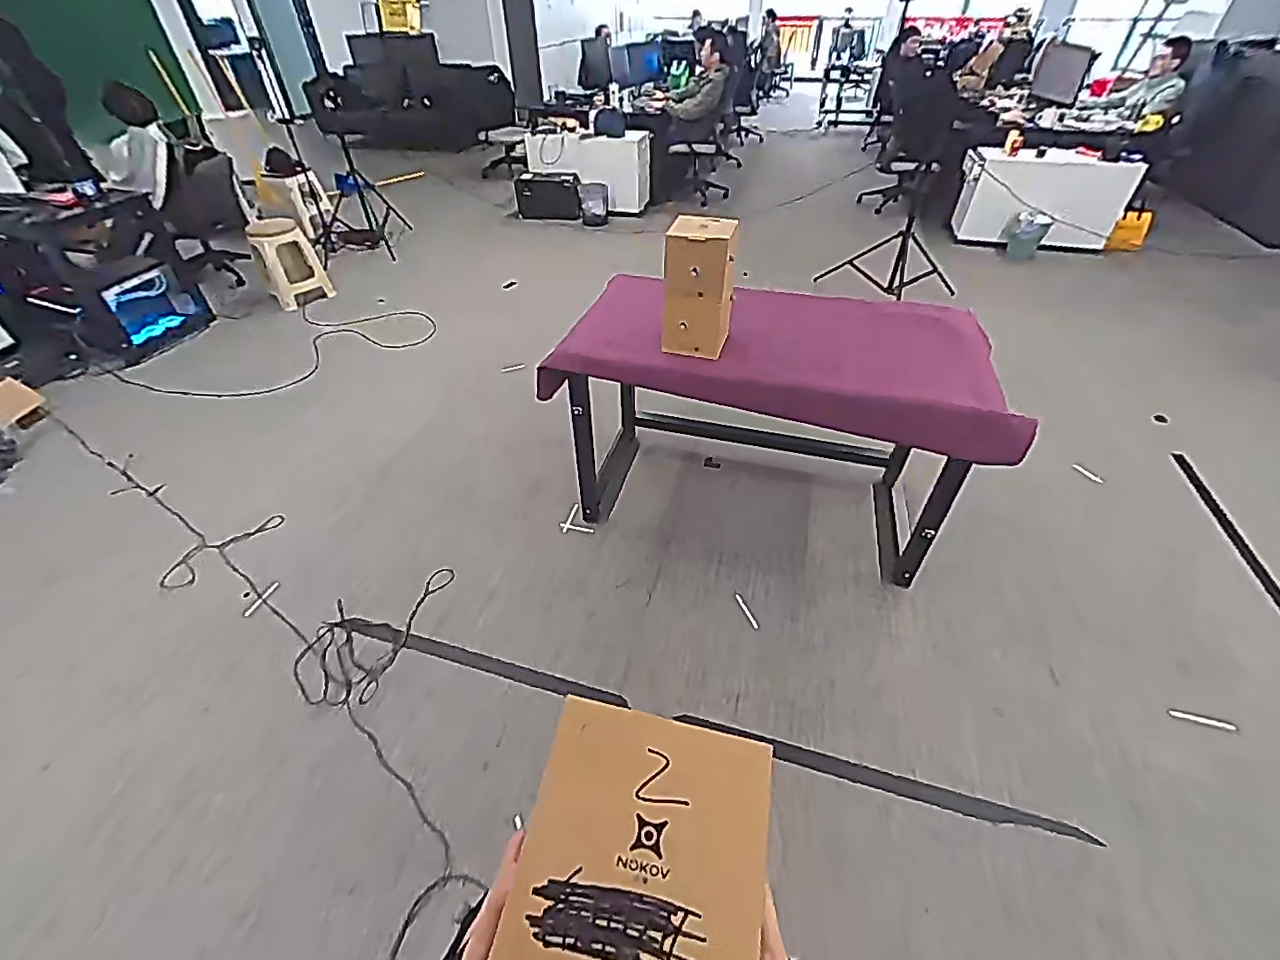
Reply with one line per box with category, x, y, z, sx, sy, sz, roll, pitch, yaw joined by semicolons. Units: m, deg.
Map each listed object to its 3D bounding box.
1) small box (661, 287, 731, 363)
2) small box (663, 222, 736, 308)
small box;0.164;-0.459;1.581;0.168;0.176;0.179;11;42;13
small box;0.162;-0.586;1.476;0.168;0.176;0.179;11;43;11
